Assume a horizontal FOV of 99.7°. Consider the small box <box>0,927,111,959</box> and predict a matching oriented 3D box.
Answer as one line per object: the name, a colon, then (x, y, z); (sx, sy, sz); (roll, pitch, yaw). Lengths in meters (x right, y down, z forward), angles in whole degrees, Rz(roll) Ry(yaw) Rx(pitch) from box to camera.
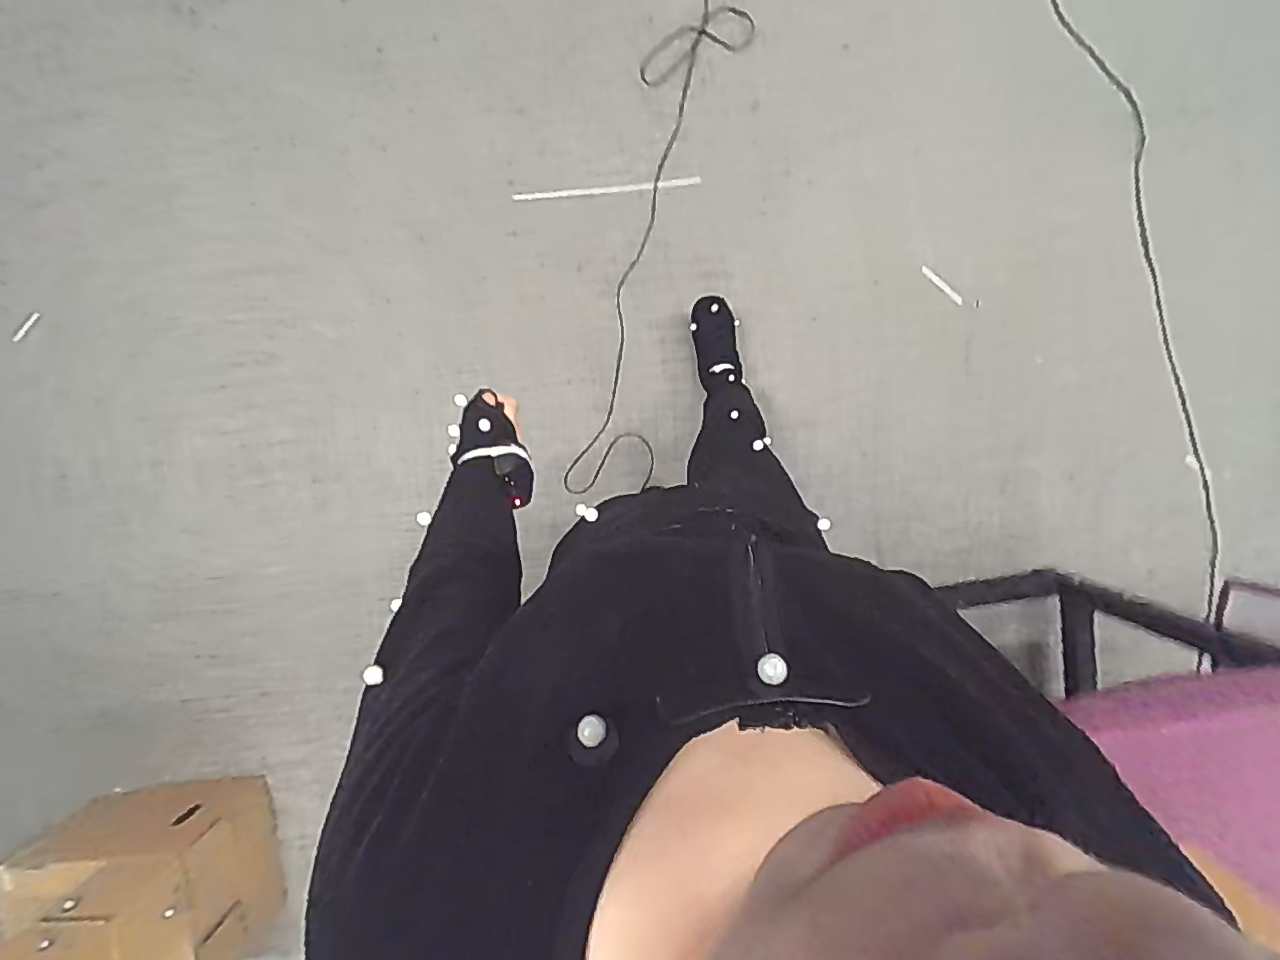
small box: (-1.141, 0.989, 1.008); (0.168, 0.176, 0.179); (-2, 94, 1)
